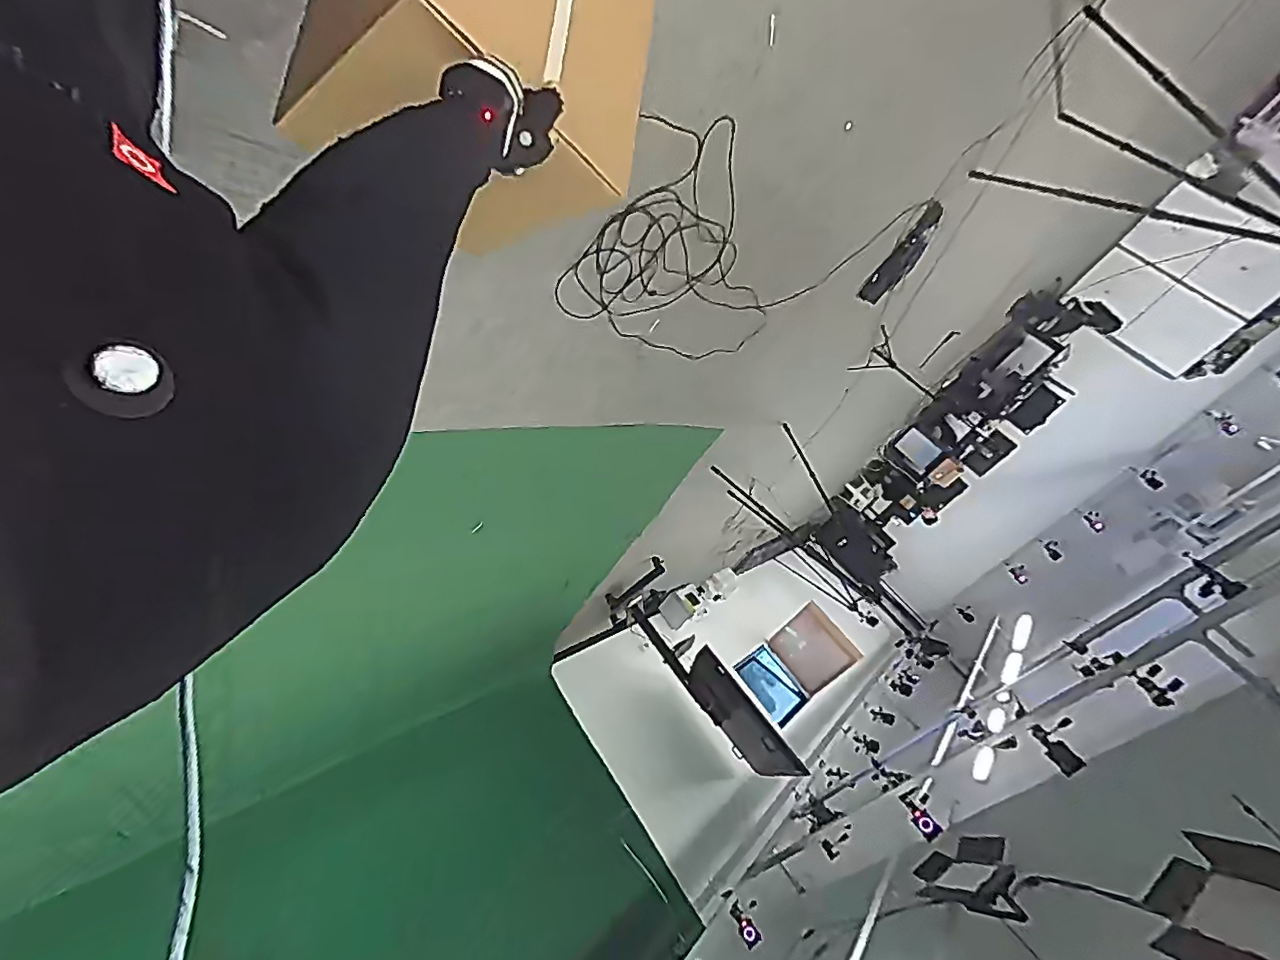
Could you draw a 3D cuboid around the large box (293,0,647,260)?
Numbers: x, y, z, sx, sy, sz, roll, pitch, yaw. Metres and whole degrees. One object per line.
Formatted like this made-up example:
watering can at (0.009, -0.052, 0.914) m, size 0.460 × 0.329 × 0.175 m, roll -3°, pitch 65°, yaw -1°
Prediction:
large box at (-0.212, -0.587, 0.731) m, size 0.320 × 0.408 × 0.320 m, roll -2°, pitch 167°, yaw 37°
